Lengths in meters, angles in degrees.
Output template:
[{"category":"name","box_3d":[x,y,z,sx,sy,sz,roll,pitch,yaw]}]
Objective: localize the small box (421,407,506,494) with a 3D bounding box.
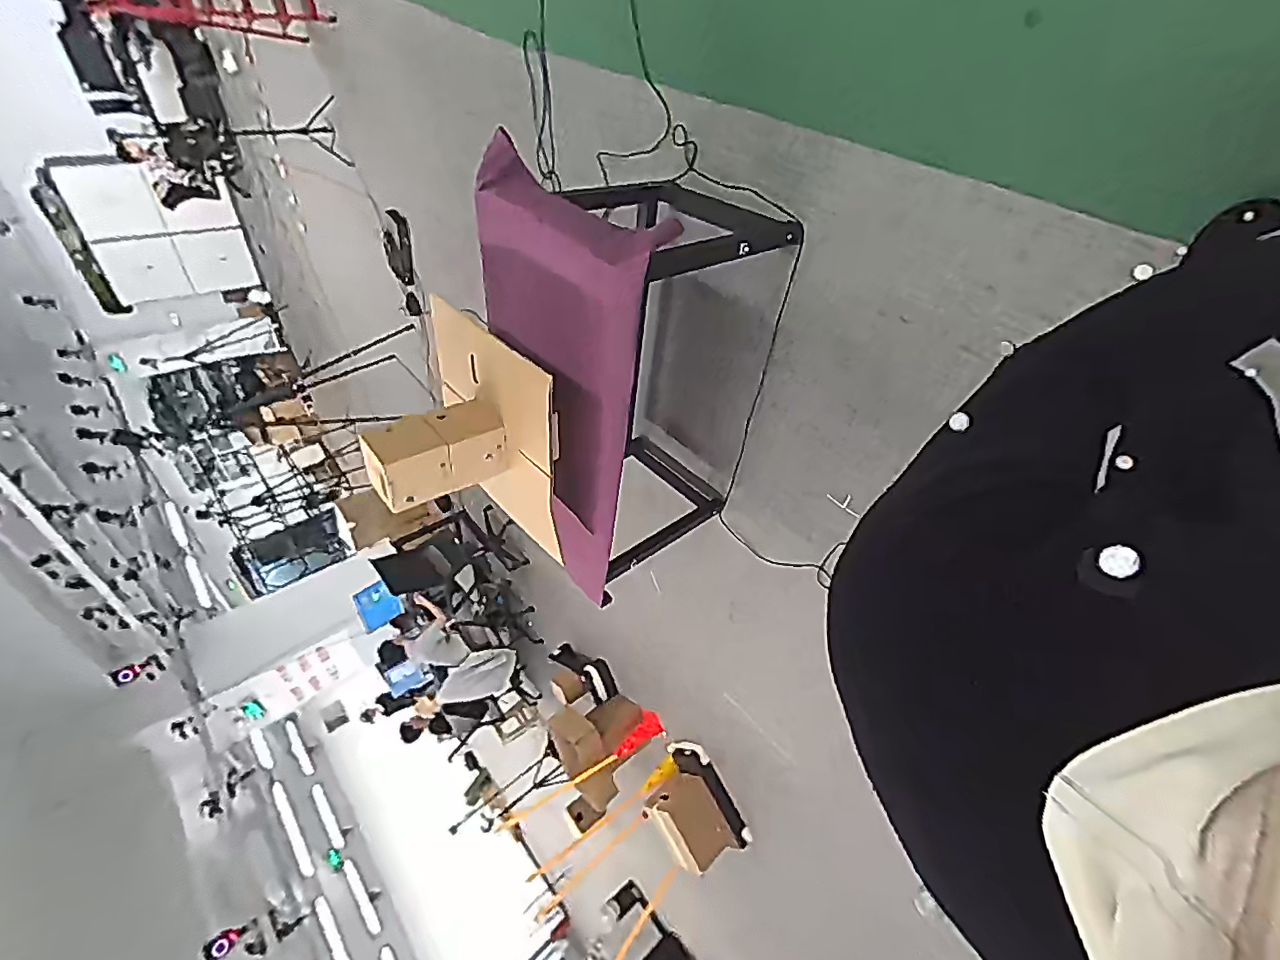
[{"category":"small box","box_3d":[-0.499,-0.093,1.544,0.179,0.176,0.168,38,138,31]}]
